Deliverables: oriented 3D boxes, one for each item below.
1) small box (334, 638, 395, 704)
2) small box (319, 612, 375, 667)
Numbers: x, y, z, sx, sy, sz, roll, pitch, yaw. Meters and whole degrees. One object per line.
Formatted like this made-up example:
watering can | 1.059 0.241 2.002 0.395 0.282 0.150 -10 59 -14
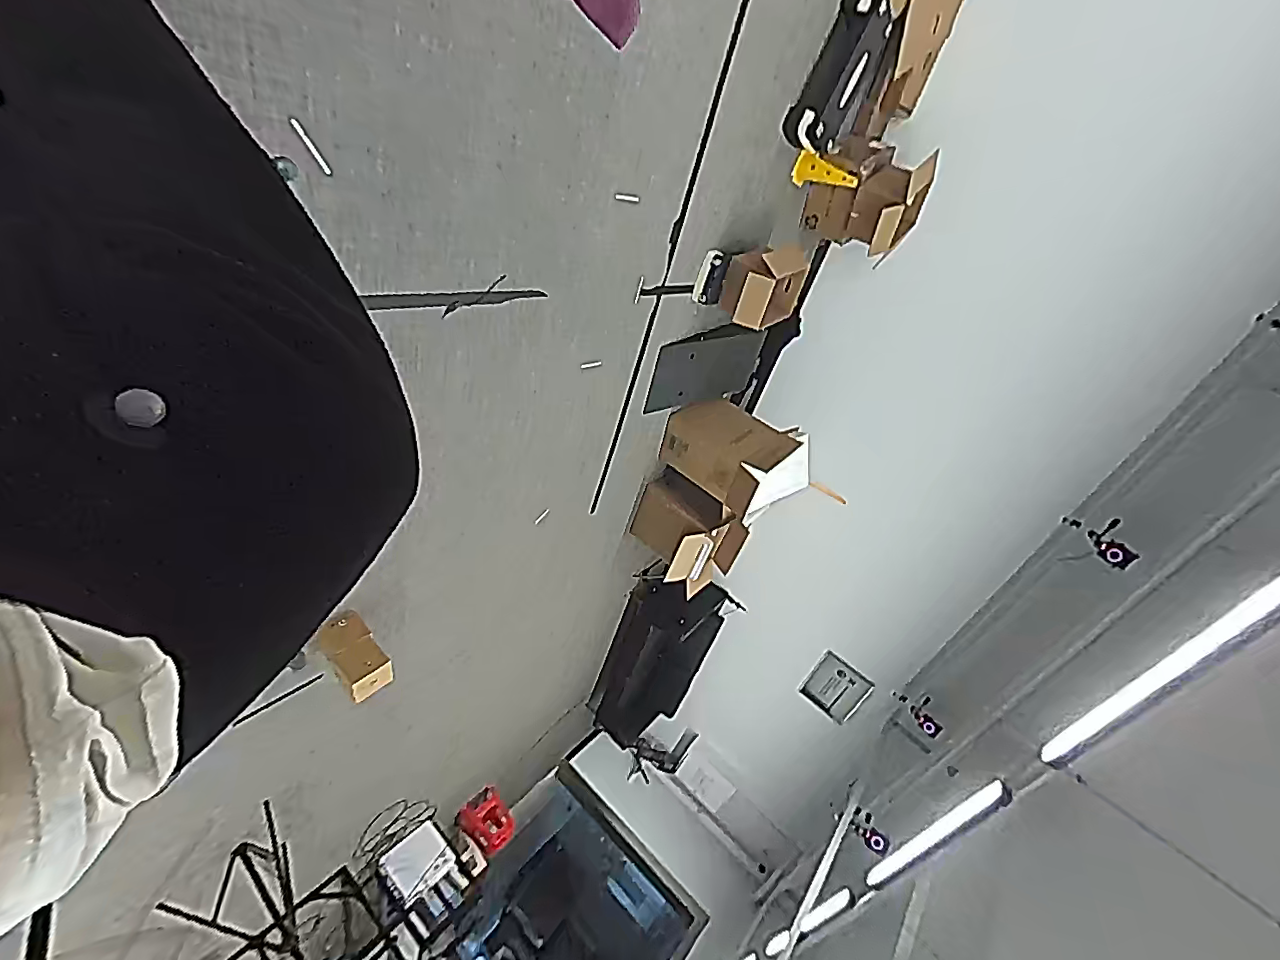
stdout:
small box | -1.200 0.829 2.359 0.179 0.176 0.168 -31 148 -43
small box | -1.313 0.733 2.430 0.168 0.176 0.179 -30 147 -44
